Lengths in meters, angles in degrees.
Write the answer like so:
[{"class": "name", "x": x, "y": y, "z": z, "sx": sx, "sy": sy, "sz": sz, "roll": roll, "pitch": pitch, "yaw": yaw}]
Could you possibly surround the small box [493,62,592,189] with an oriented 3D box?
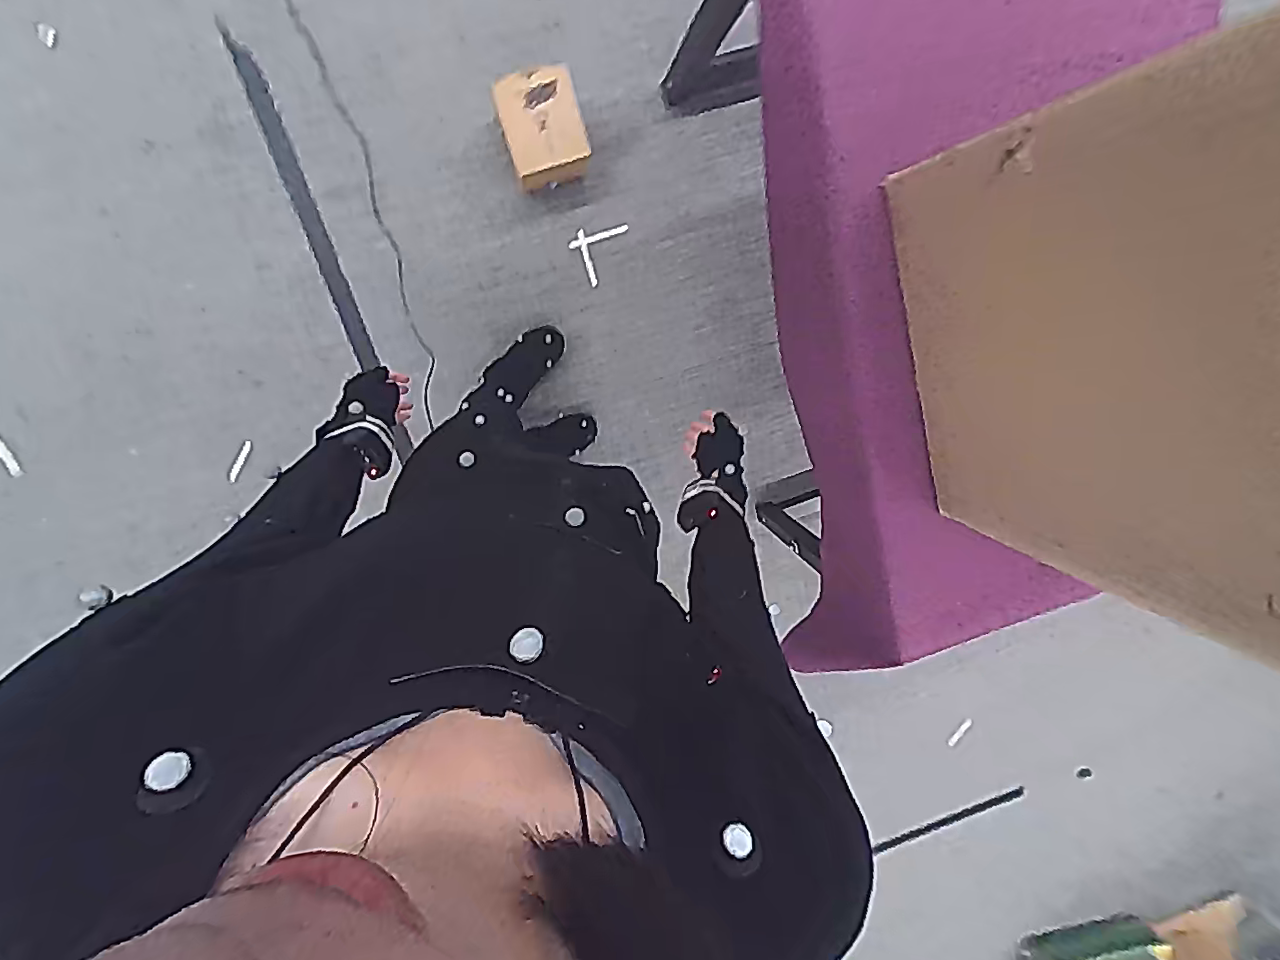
[{"class": "small box", "x": -0.217, "y": -0.782, "z": 1.208, "sx": 0.168, "sy": 0.176, "sz": 0.179, "roll": -19, "pitch": 109, "yaw": -5}]
